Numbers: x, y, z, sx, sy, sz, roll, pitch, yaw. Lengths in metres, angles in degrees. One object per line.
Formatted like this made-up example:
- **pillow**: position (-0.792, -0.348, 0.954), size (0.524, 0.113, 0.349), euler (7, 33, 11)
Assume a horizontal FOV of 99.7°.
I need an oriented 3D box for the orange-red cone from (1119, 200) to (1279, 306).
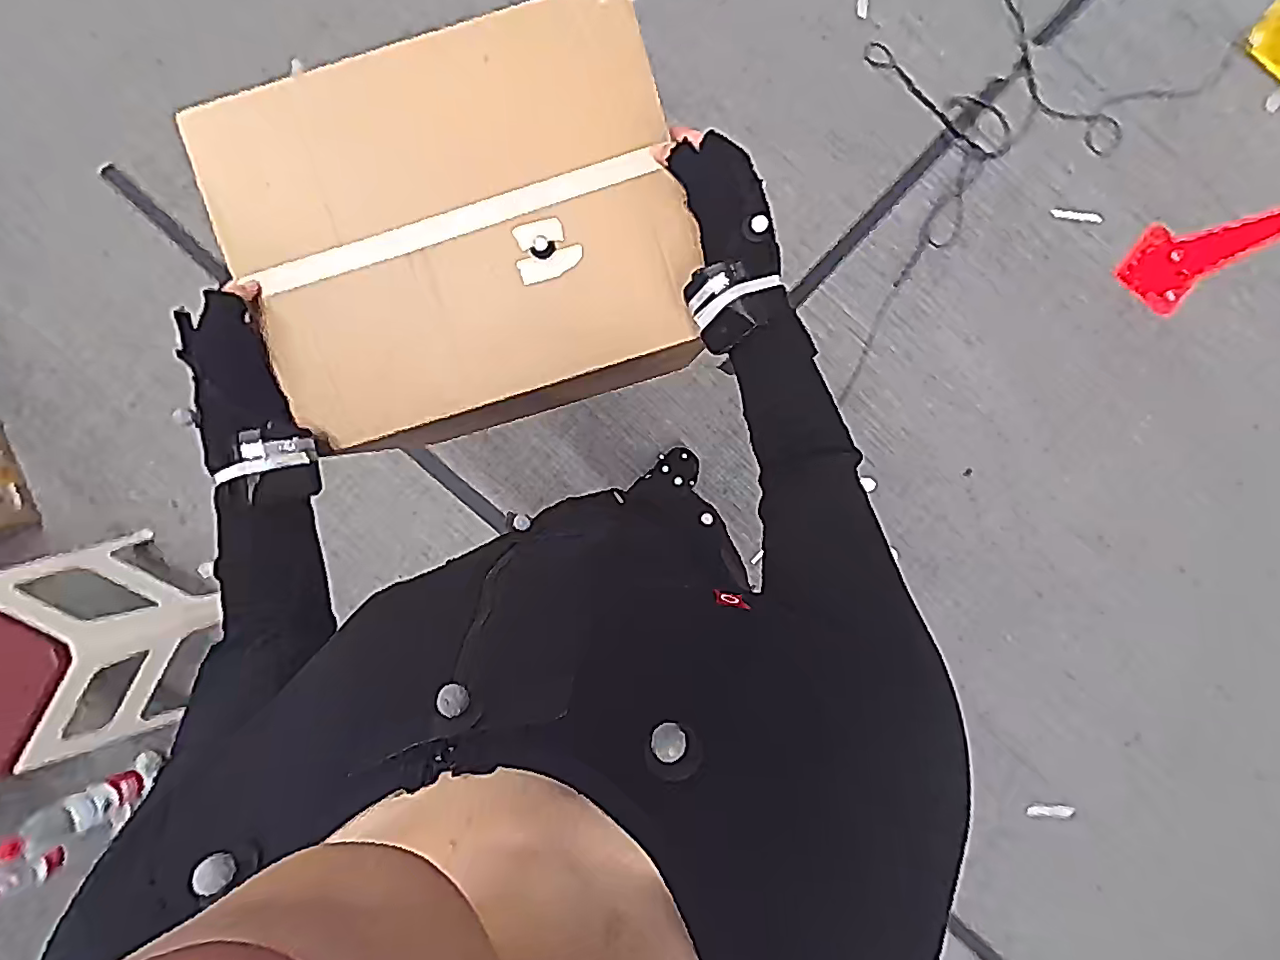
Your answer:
- **orange-red cone**: position (1.470, -0.614, 1.344), size (0.198, 0.360, 0.199), euler (40, 88, -2)
